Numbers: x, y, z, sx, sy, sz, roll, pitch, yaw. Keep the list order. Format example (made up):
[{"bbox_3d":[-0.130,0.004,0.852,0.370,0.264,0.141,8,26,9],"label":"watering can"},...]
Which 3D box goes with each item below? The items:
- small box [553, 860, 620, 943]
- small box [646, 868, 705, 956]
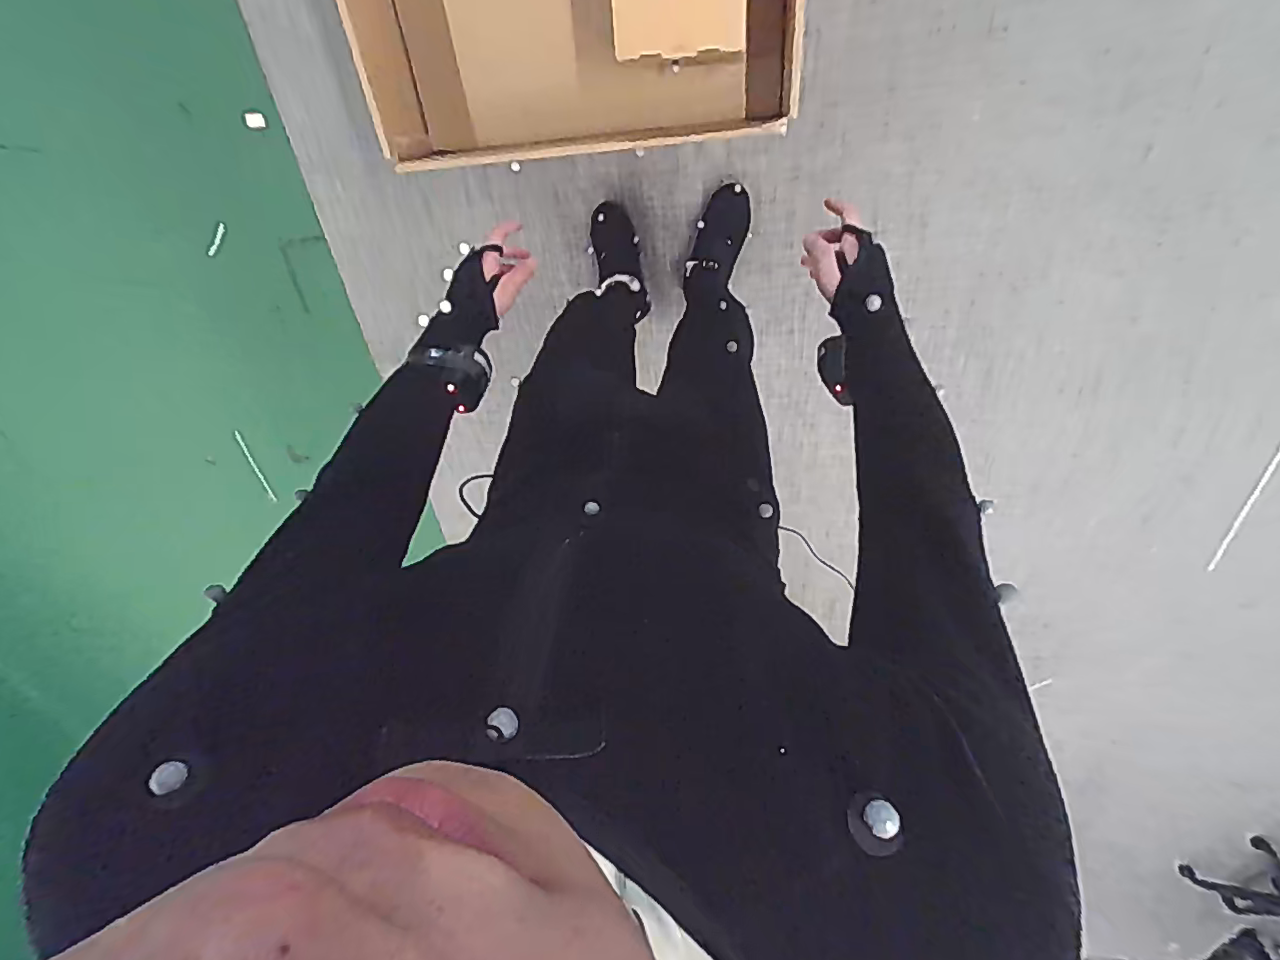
[{"bbox_3d":[-0.165,1.351,1.744,0.168,0.176,0.179,-3,123,10],"label":"small box"},{"bbox_3d":[0.116,1.348,1.692,0.168,0.176,0.179,-2,124,11],"label":"small box"}]
